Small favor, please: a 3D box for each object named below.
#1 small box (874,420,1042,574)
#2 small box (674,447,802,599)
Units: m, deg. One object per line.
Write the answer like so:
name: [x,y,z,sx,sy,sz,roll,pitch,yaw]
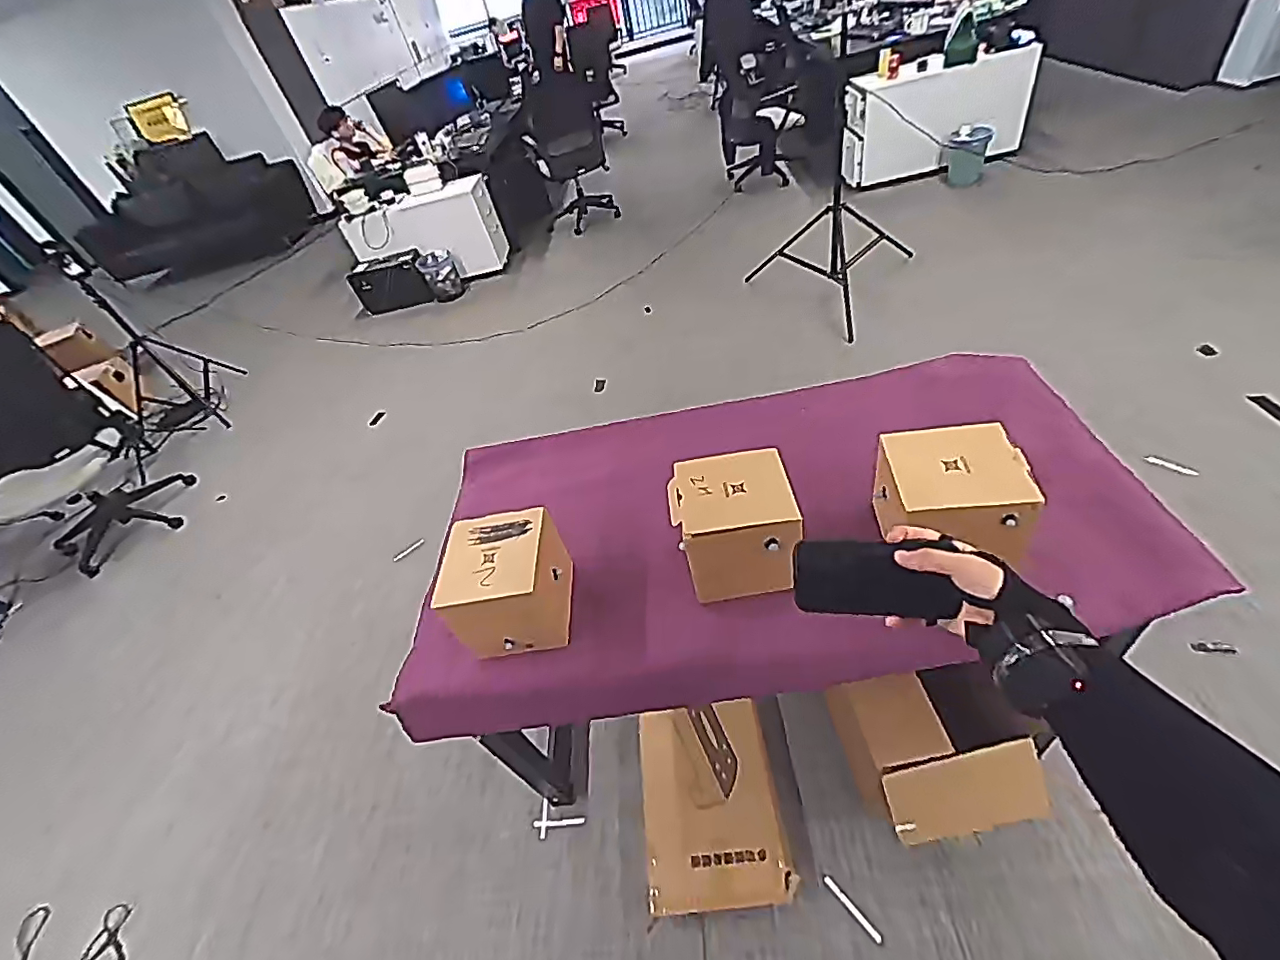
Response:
small box: [0.472,0.032,0.838,0.179,0.176,0.168,-6,44,12]
small box: [0.160,0.074,0.891,0.179,0.176,0.168,-11,41,7]
